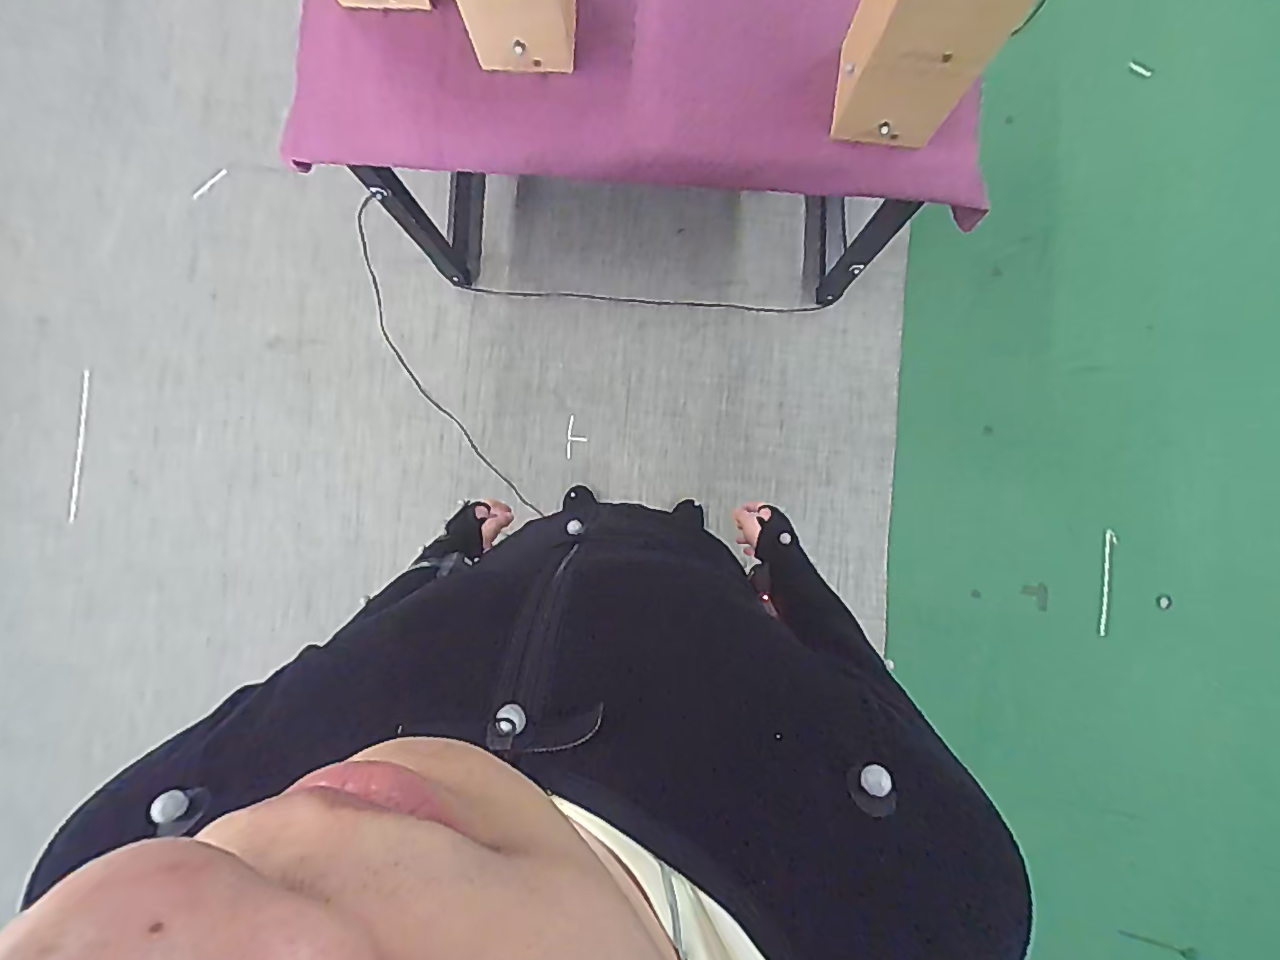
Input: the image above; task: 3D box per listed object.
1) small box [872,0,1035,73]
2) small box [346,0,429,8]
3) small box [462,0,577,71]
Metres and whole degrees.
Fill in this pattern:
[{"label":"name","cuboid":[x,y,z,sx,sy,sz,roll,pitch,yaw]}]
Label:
[{"label":"small box","cuboid":[0.421,-0.685,0.702,0.168,0.176,0.179,8,87,2]},{"label":"small box","cuboid":[-0.453,-0.937,0.888,0.168,0.176,0.179,2,88,1]},{"label":"small box","cuboid":[-0.197,-0.820,0.881,0.168,0.176,0.179,3,88,1]}]
